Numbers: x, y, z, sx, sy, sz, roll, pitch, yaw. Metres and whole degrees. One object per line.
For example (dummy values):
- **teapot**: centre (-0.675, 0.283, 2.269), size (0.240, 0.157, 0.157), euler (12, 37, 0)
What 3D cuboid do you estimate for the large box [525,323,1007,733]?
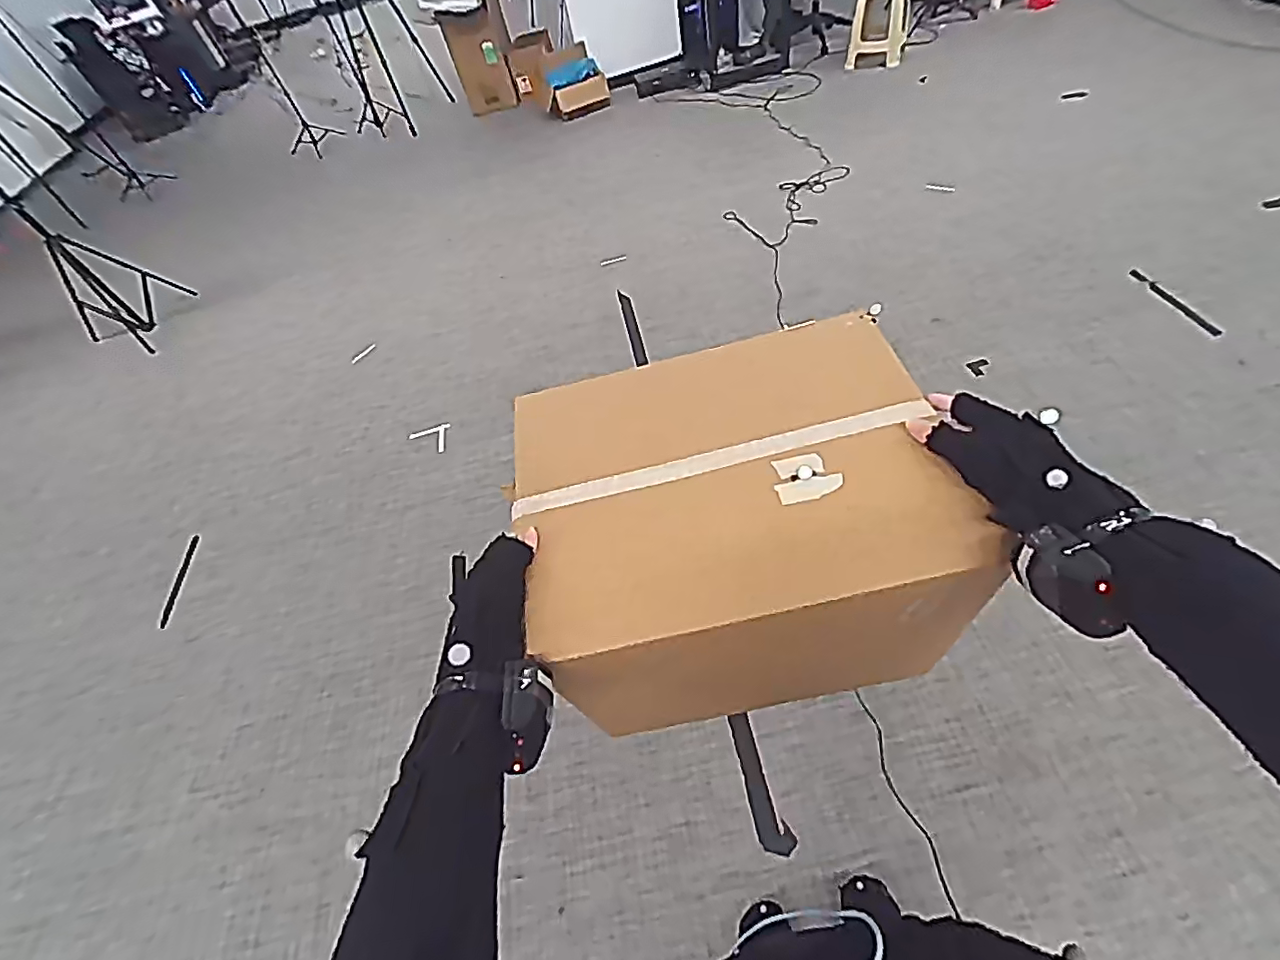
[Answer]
- **large box**: centre (0.107, 0.073, 0.650), size (0.408, 0.320, 0.320), euler (-13, 54, 3)
